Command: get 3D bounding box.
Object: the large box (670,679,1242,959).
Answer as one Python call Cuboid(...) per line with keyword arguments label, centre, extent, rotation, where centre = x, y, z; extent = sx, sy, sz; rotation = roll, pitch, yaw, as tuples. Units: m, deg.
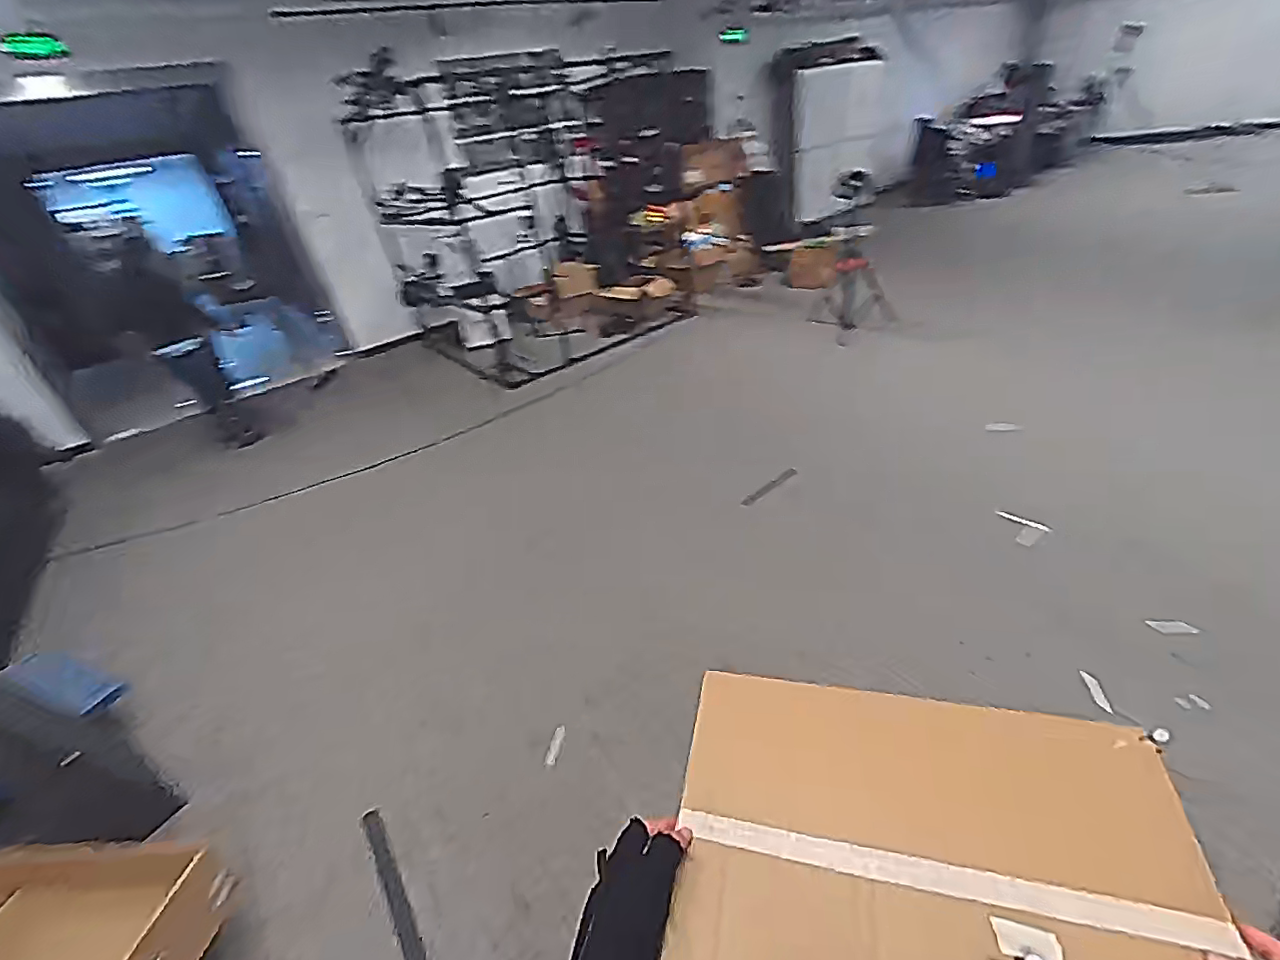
Cuboid(label="large box", centre=(0.265, 0.443, 0.539), extent=(0.408, 0.320, 0.320), rotation=(2, 41, 19))
